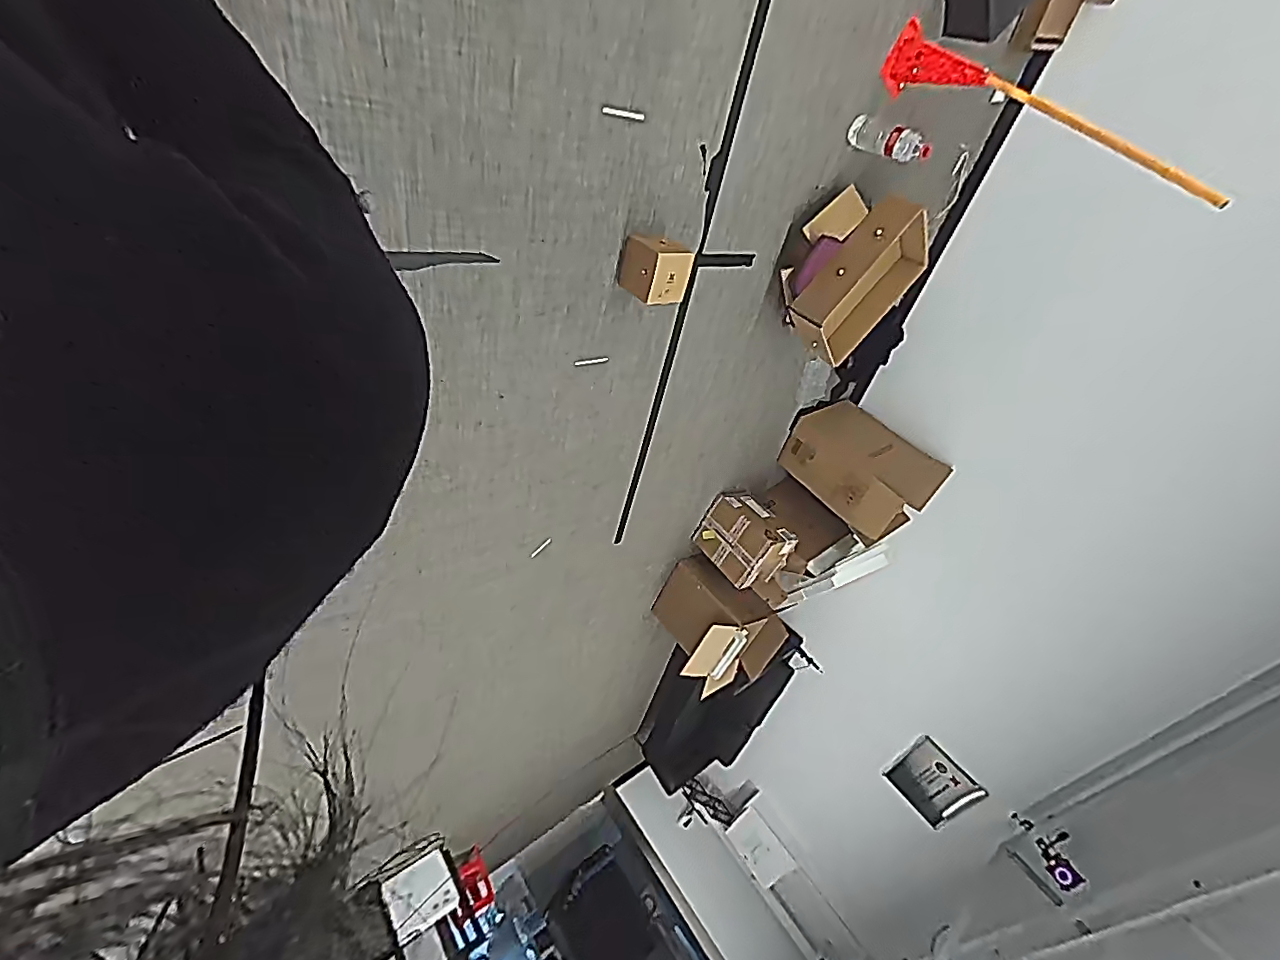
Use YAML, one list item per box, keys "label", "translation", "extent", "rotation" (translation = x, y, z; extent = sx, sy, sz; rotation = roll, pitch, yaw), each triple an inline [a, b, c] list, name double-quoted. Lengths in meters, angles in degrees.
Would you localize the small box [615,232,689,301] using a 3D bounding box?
- label: "small box"
  translation: [0.035, -0.735, 1.855]
  extent: [0.168, 0.176, 0.179]
  rotation: [-17, 140, -36]
